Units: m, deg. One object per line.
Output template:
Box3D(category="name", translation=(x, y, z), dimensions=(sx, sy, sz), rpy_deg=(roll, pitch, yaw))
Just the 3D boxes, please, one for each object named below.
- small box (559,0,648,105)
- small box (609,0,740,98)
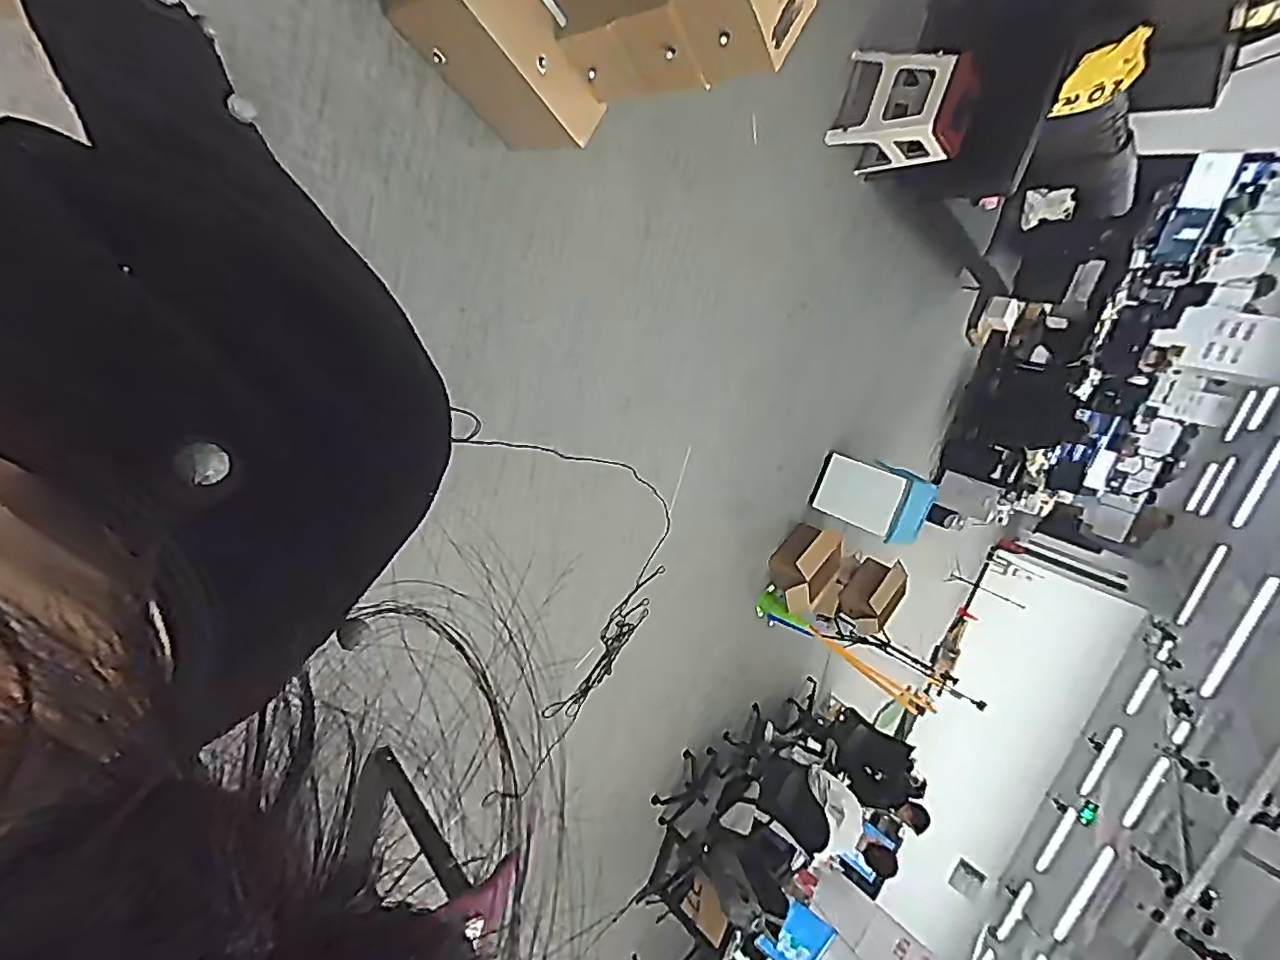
Box3D(category="small box", translation=(-0.049, -0.981, 1.204), dimensions=(0.168, 0.176, 0.179), rpy_deg=(31, 85, -51))
Box3D(category="small box", translation=(0.069, -0.924, 1.109), dimensions=(0.179, 0.176, 0.168), rpy_deg=(33, 84, -50))
